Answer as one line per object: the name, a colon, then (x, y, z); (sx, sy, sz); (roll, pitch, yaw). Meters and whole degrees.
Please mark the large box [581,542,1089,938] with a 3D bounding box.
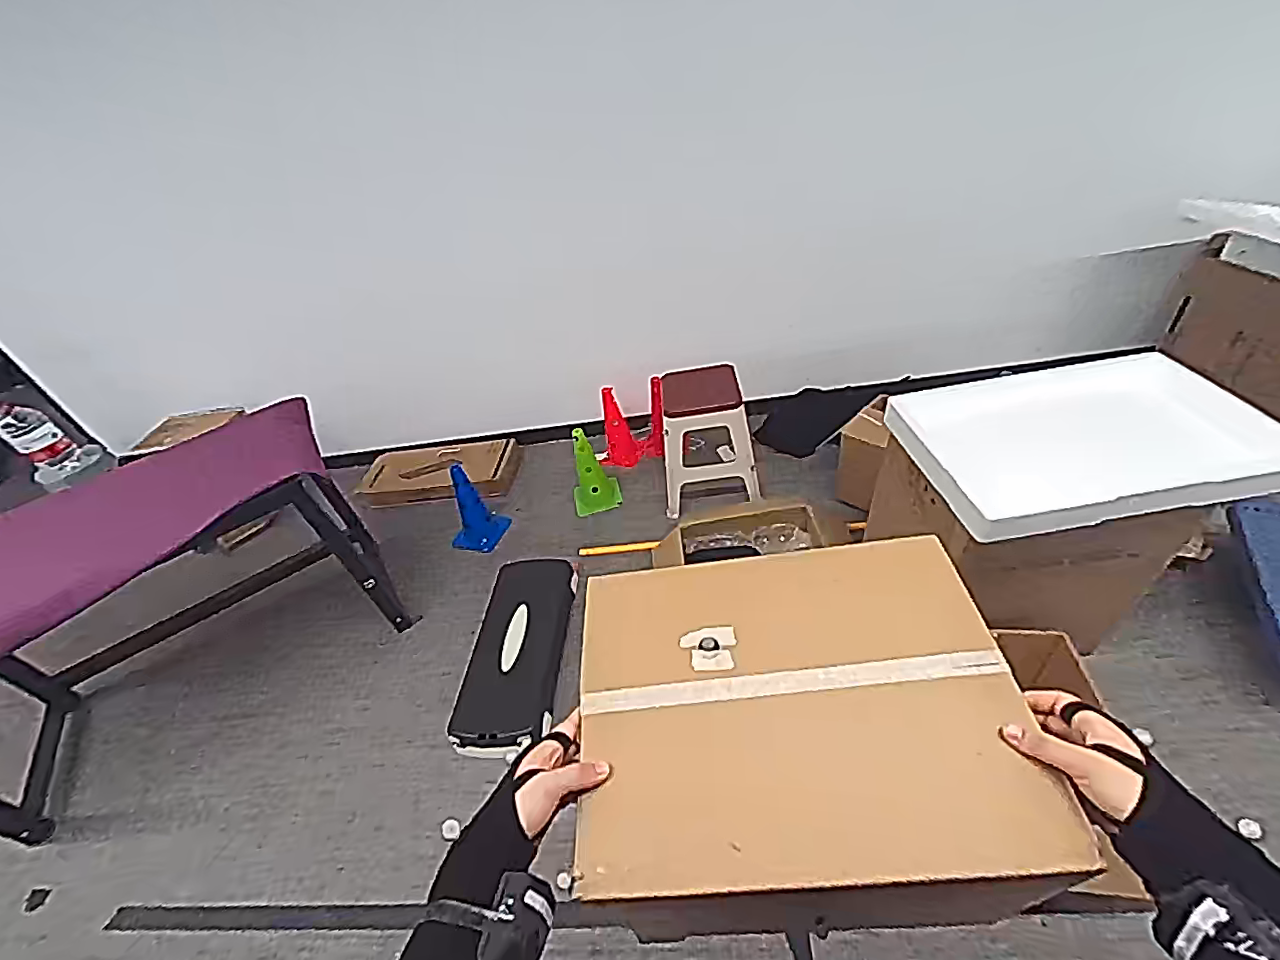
large box: (0.171, 0.312, 0.633); (0.408, 0.320, 0.320); (-9, 43, 7)
